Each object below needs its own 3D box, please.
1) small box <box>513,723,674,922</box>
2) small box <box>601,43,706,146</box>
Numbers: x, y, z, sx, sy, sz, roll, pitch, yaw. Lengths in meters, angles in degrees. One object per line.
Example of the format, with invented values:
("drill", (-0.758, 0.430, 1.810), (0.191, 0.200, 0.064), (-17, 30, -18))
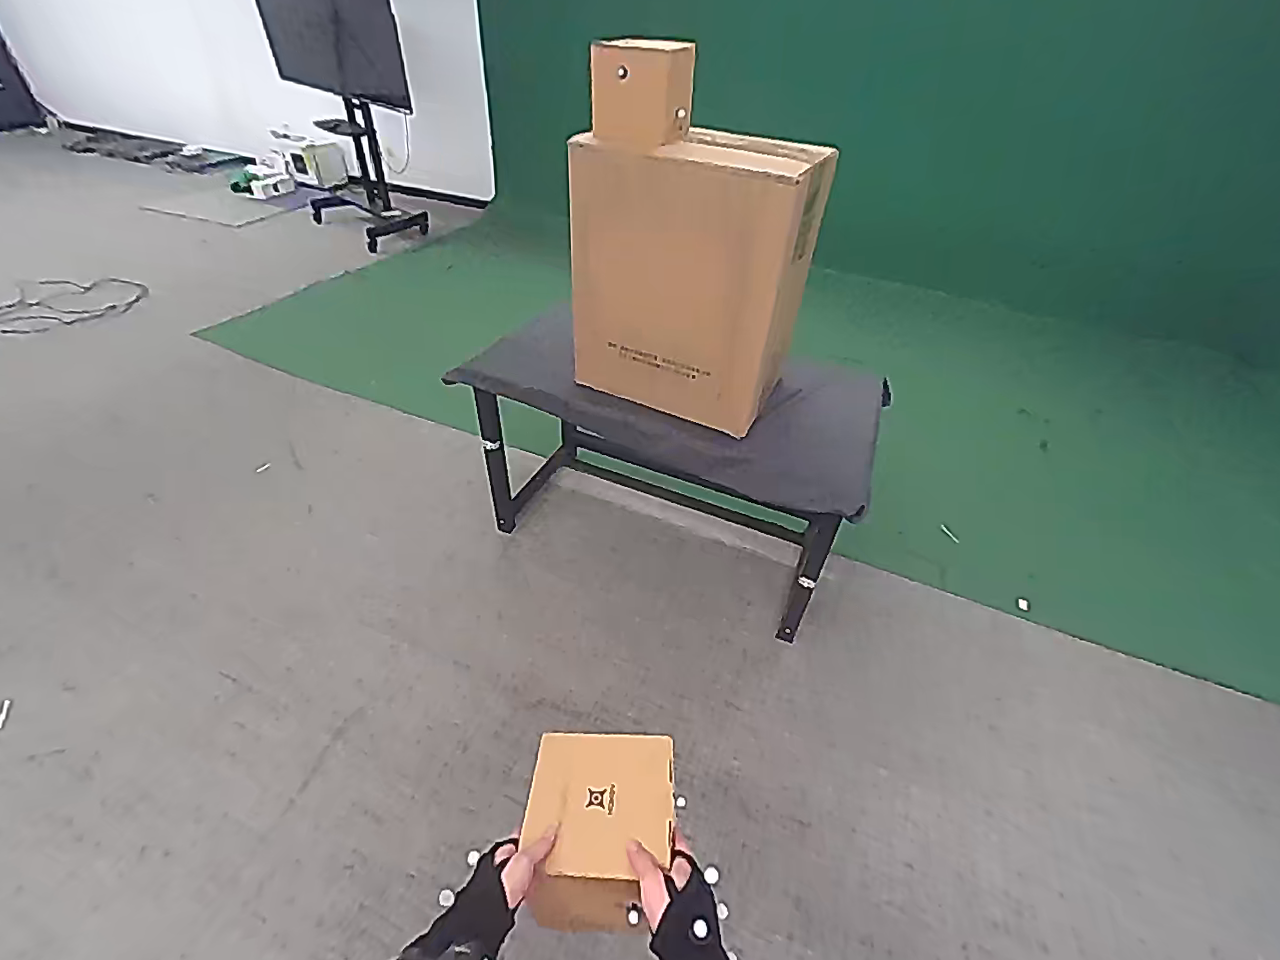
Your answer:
("small box", (-0.045, 0.443, 0.704), (0.179, 0.176, 0.168), (-2, 33, 6))
("small box", (0.031, -0.863, 1.210), (0.179, 0.176, 0.168), (21, 48, 20))
